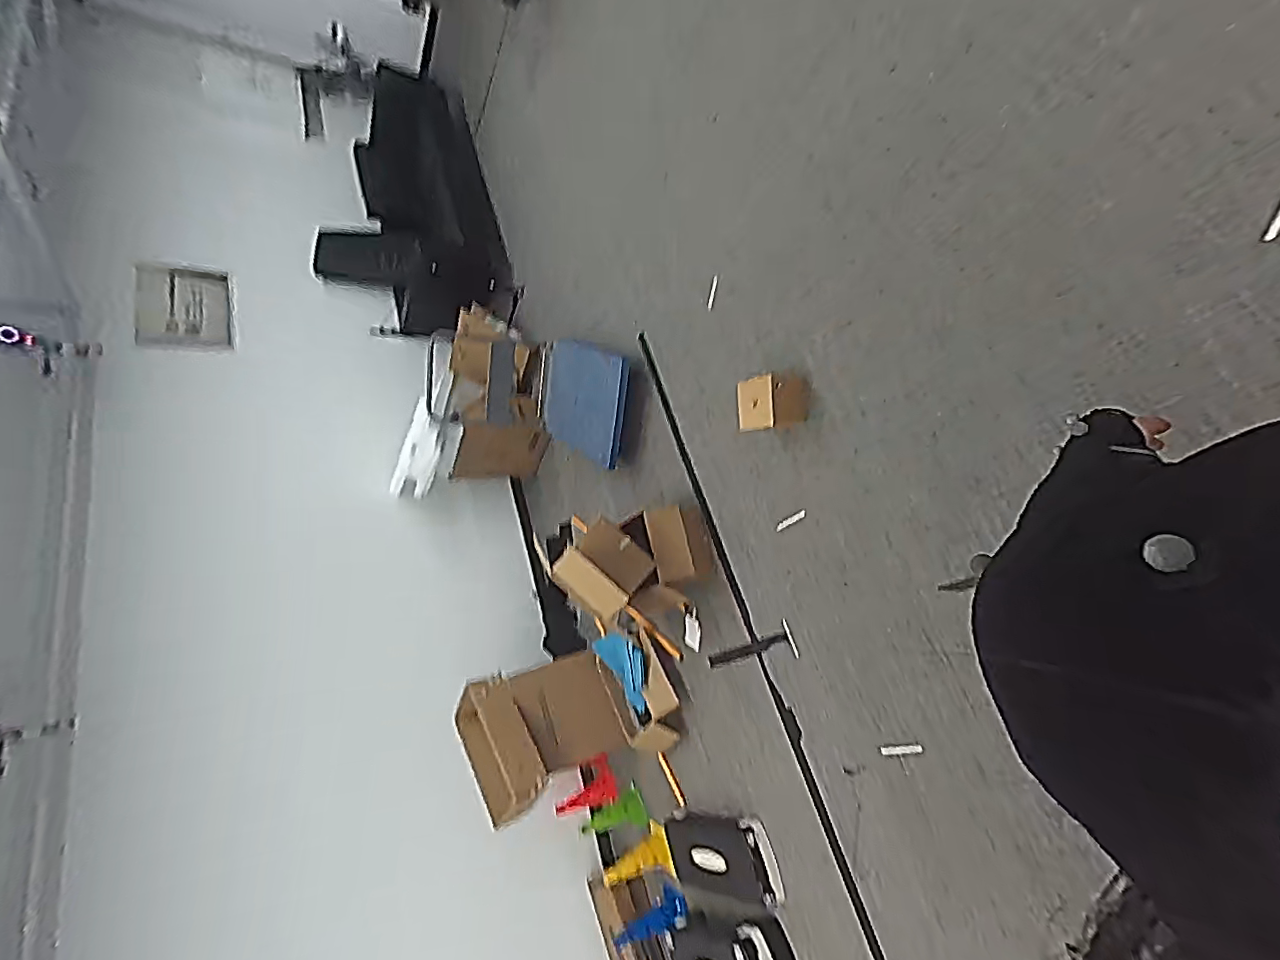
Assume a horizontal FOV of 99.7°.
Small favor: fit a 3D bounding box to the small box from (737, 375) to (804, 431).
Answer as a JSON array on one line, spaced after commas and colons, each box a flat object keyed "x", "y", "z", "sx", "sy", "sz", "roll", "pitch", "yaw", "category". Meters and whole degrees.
[{"x": 0.468, "y": -0.273, "z": 1.930, "sx": 0.168, "sy": 0.176, "sz": 0.179, "roll": -4, "pitch": 90, "yaw": 57, "category": "small box"}]
